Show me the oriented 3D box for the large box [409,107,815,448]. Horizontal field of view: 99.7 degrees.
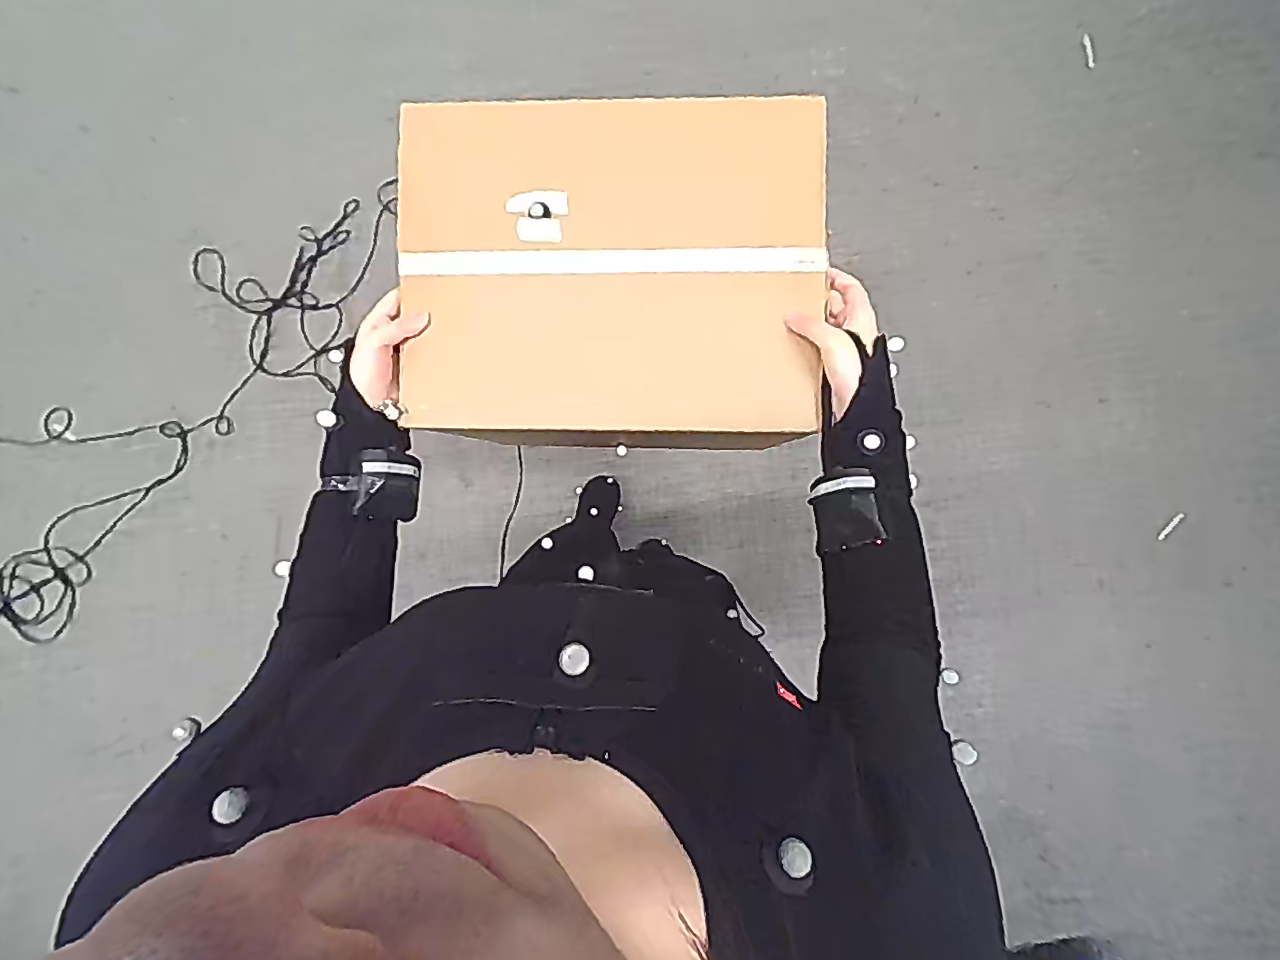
[{"bbox_3d":[-0.020,-0.201,0.676,0.408,0.320,0.320,0,90,4],"label":"large box"}]
